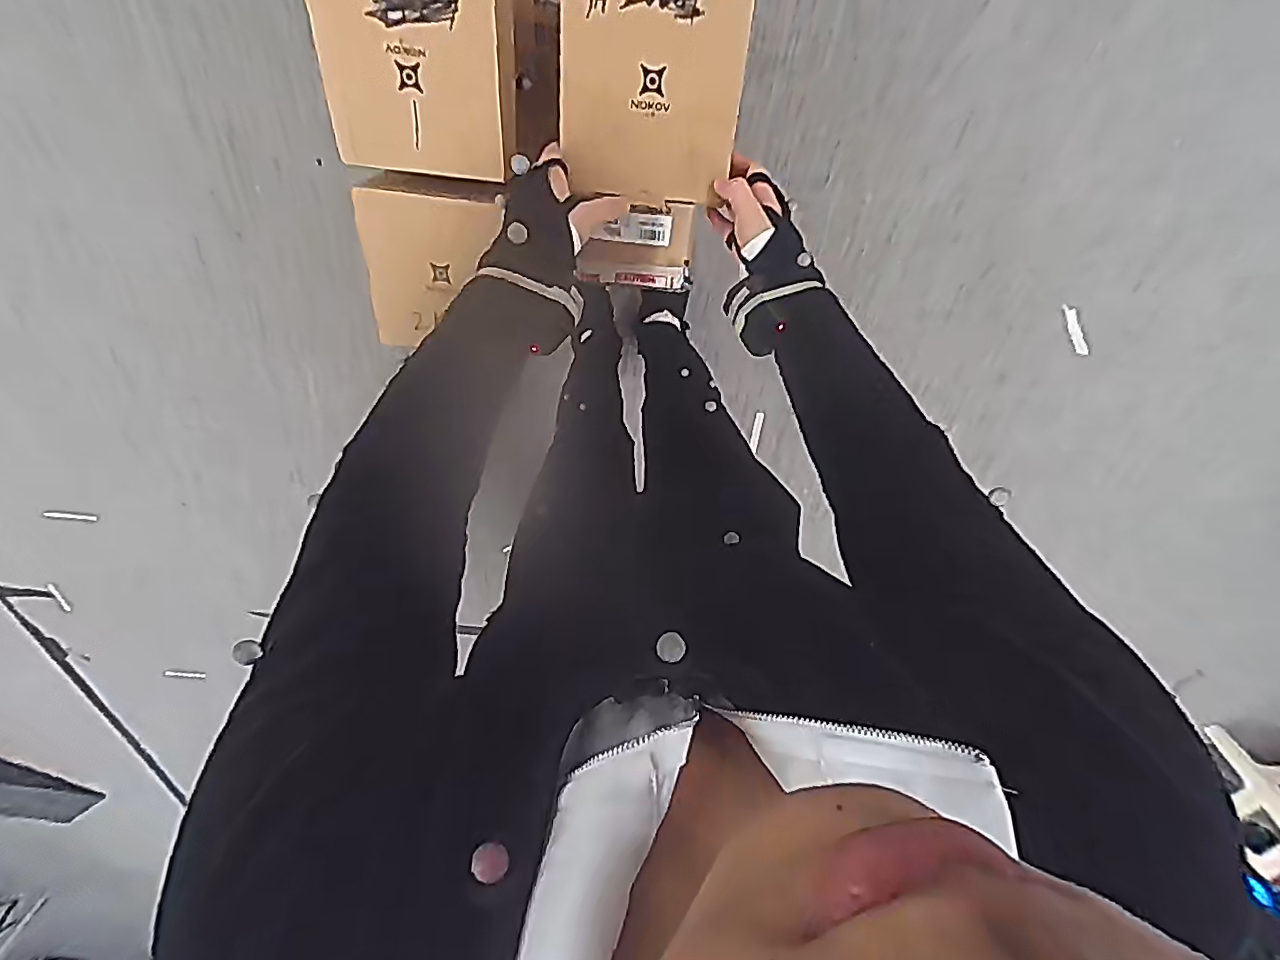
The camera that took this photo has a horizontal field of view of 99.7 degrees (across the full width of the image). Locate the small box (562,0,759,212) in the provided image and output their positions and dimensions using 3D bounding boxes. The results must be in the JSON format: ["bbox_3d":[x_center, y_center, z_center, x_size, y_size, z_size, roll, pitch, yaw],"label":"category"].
[{"bbox_3d":[0.014,-0.391,0.558,0.168,0.176,0.179,5,123,-2],"label":"small box"}]
